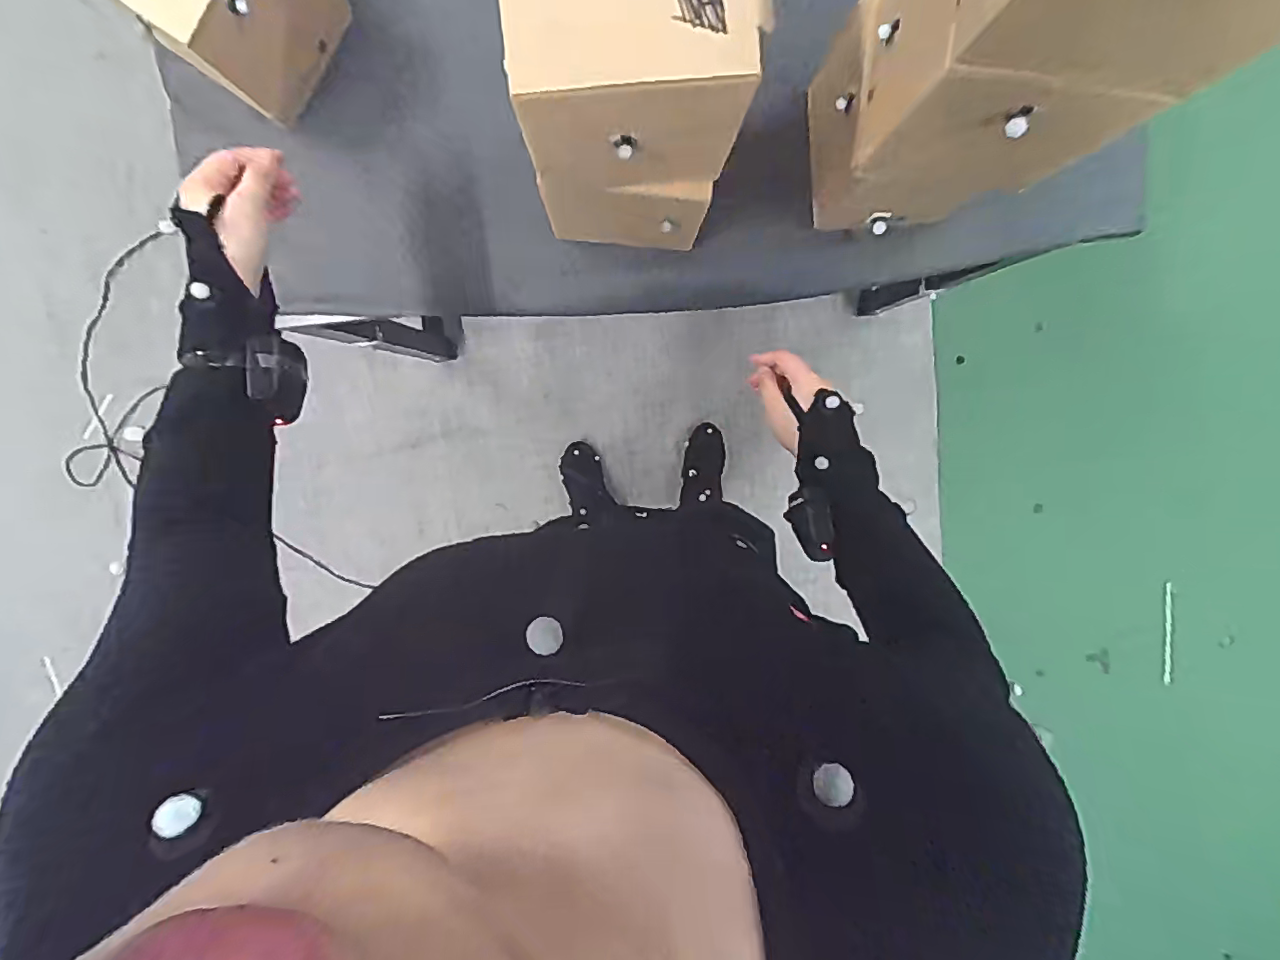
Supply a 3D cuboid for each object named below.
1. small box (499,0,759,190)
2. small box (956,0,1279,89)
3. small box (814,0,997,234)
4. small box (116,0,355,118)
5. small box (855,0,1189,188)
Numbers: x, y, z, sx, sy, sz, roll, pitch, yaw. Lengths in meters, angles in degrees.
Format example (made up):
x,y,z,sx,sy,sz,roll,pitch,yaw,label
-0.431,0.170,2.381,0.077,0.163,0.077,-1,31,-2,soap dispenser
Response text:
x,y,z,sx,sy,sz,roll,pitch,yaw,label
-0.012,-0.357,0.439,0.179,0.176,0.168,-5,97,0,small box
0.312,-0.346,0.285,0.179,0.176,0.168,7,97,-1,small box
0.302,-0.400,0.607,0.168,0.176,0.179,-5,98,1,small box
-0.451,-0.535,0.570,0.179,0.176,0.168,34,96,-6,small box
0.306,-0.364,0.448,0.179,0.176,0.168,6,97,-1,small box
